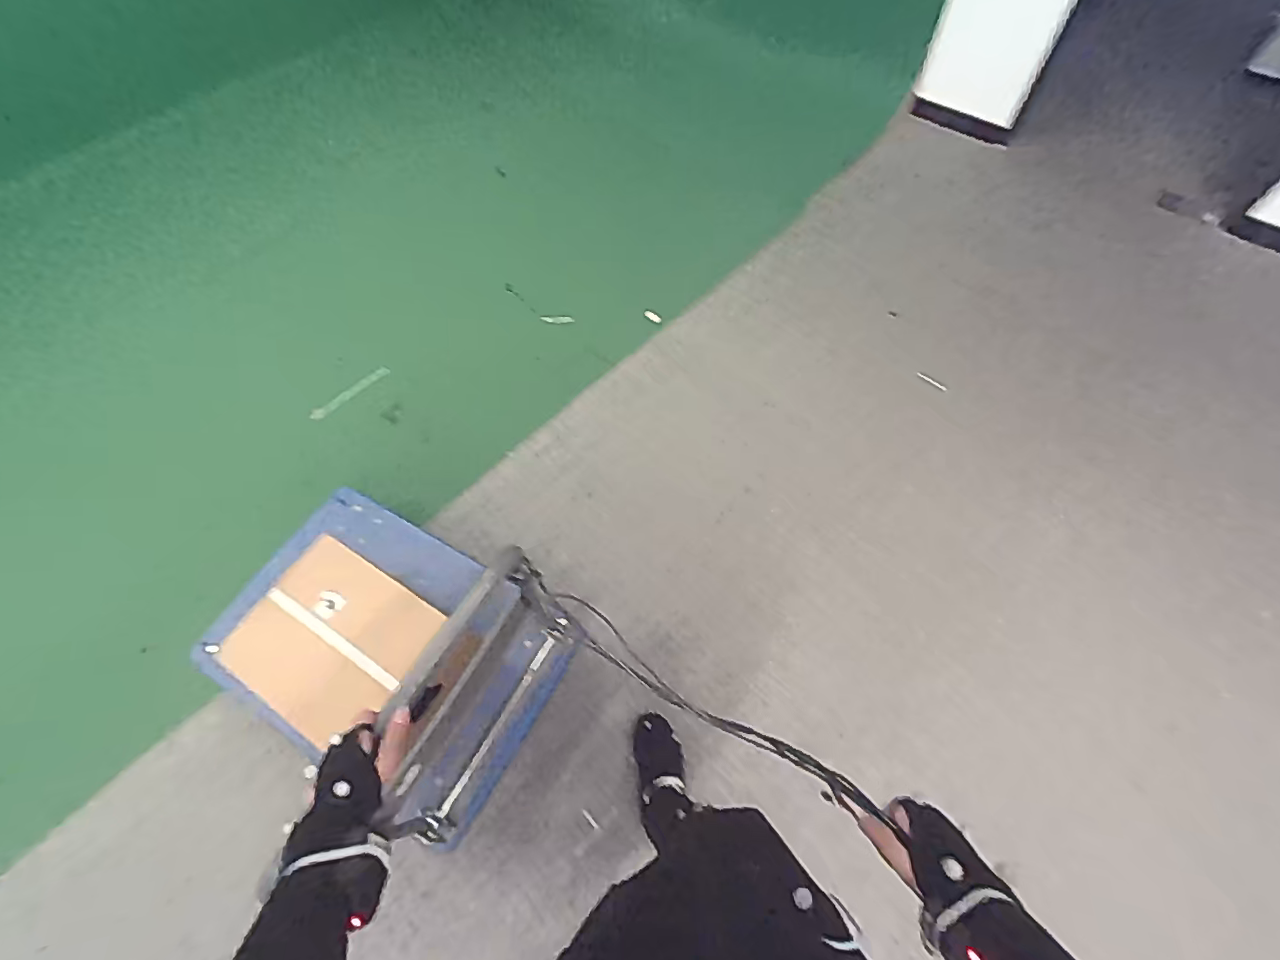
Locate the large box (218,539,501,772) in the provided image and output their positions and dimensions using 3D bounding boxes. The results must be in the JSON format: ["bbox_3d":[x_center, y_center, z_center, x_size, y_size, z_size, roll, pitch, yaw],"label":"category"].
[{"bbox_3d":[-0.596,0.398,1.220,0.408,0.320,0.320,28,67,17],"label":"large box"}]
